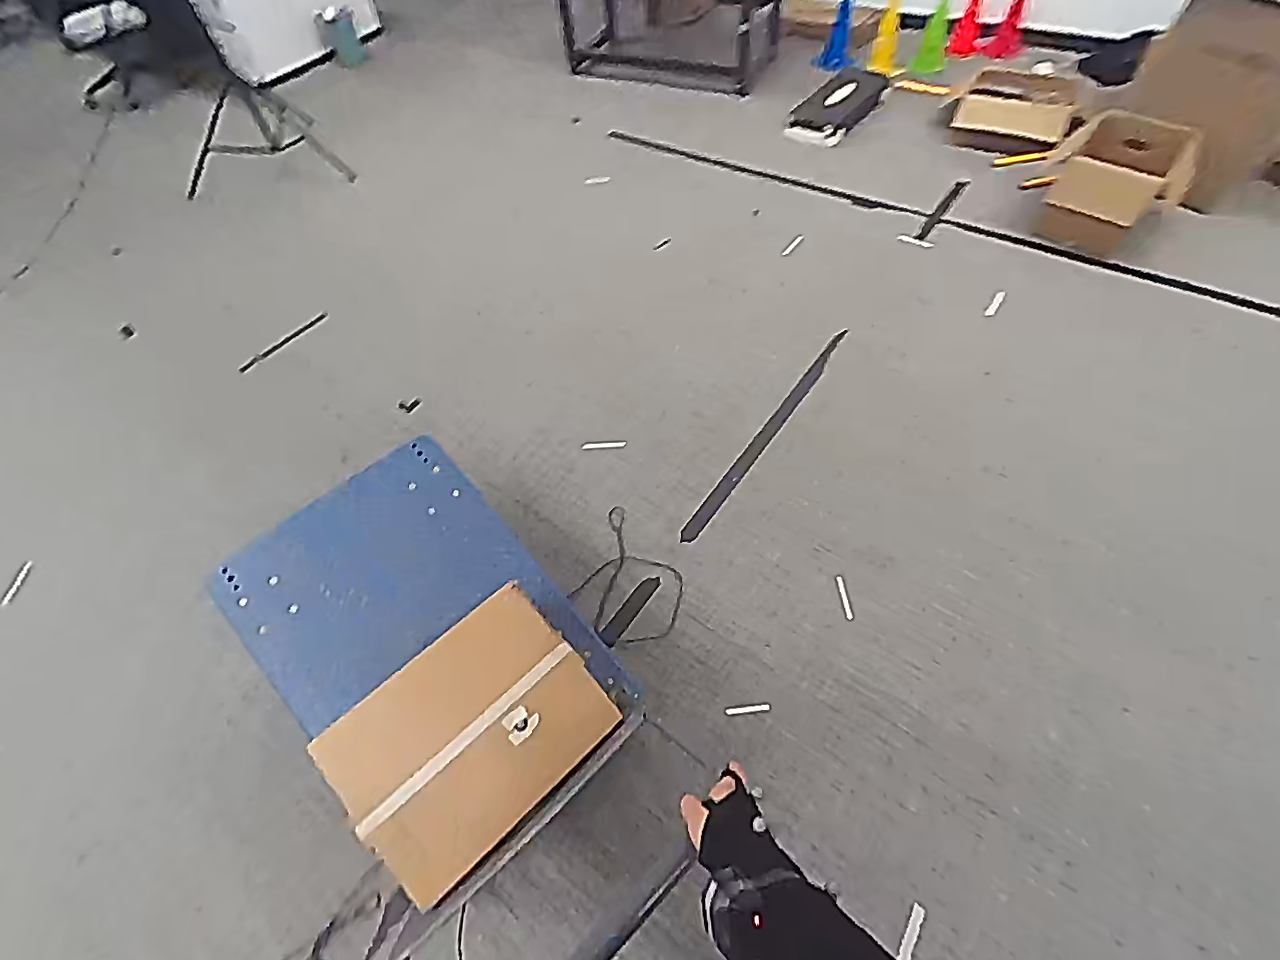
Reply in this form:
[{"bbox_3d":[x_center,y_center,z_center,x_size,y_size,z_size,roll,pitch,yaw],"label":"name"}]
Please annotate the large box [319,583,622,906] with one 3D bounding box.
[{"bbox_3d":[-0.295,0.469,1.039,0.408,0.320,0.320,-39,81,-20],"label":"large box"}]
